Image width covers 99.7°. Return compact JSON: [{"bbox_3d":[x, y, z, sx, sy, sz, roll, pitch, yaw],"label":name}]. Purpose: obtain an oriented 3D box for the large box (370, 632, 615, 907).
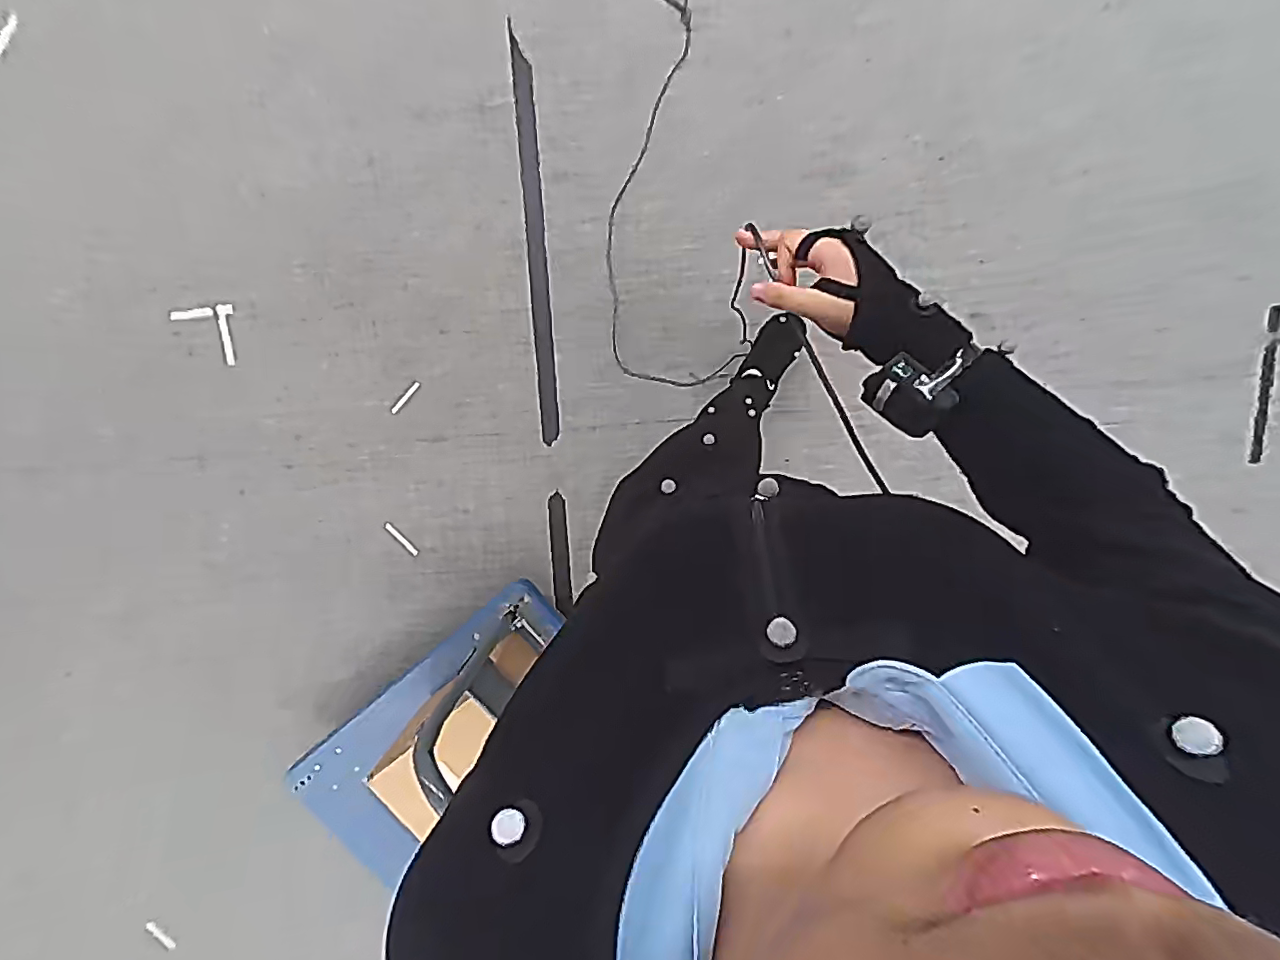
[{"bbox_3d":[-0.310,0.645,1.258,0.320,0.320,0.408,-40,94,6],"label":"large box"}]
